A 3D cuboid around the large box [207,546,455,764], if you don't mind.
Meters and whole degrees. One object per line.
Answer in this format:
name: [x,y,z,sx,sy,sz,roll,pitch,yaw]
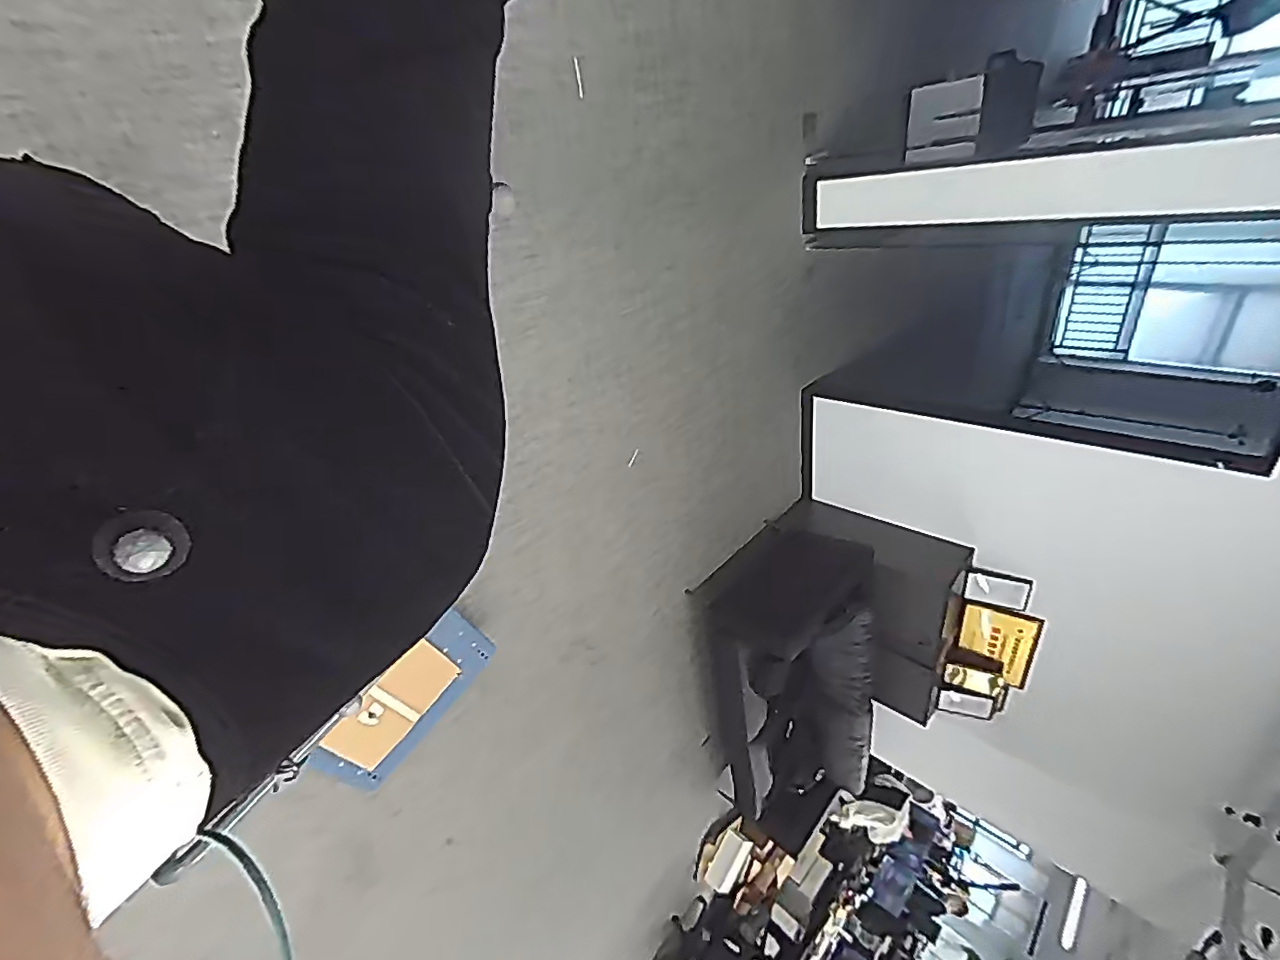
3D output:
large box: [-0.768,0.438,1.377,0.320,0.320,0.408,-48,136,-24]
